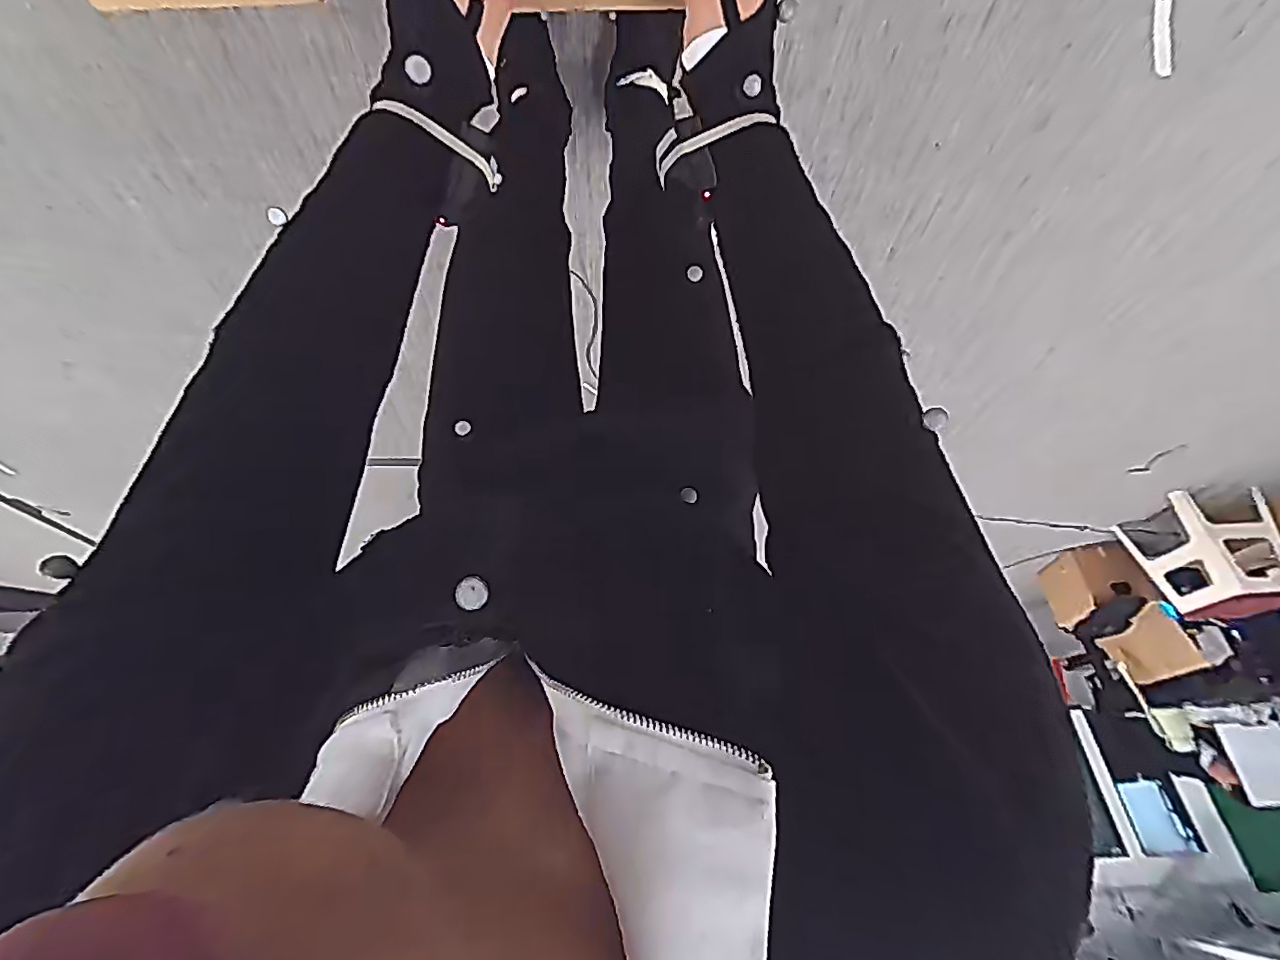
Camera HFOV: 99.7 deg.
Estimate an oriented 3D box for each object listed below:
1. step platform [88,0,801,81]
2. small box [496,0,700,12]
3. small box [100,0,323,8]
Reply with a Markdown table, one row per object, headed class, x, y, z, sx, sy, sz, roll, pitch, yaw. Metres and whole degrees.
| class | x | y | z | sx | sy | sz | roll | pitch | yaw |
| --- | --- | --- | --- | --- | --- | --- | --- | --- | --- |
| step platform | -0.181 | -0.576 | 0.495 | 0.684 | 0.204 | 0.286 | -2 | 149 | -3 |
| small box | -0.035 | -0.489 | 0.400 | 0.168 | 0.176 | 0.179 | -1 | 150 | -1 |
| small box | -0.334 | -0.481 | 0.393 | 0.179 | 0.176 | 0.168 | -3 | 148 | -1 |
